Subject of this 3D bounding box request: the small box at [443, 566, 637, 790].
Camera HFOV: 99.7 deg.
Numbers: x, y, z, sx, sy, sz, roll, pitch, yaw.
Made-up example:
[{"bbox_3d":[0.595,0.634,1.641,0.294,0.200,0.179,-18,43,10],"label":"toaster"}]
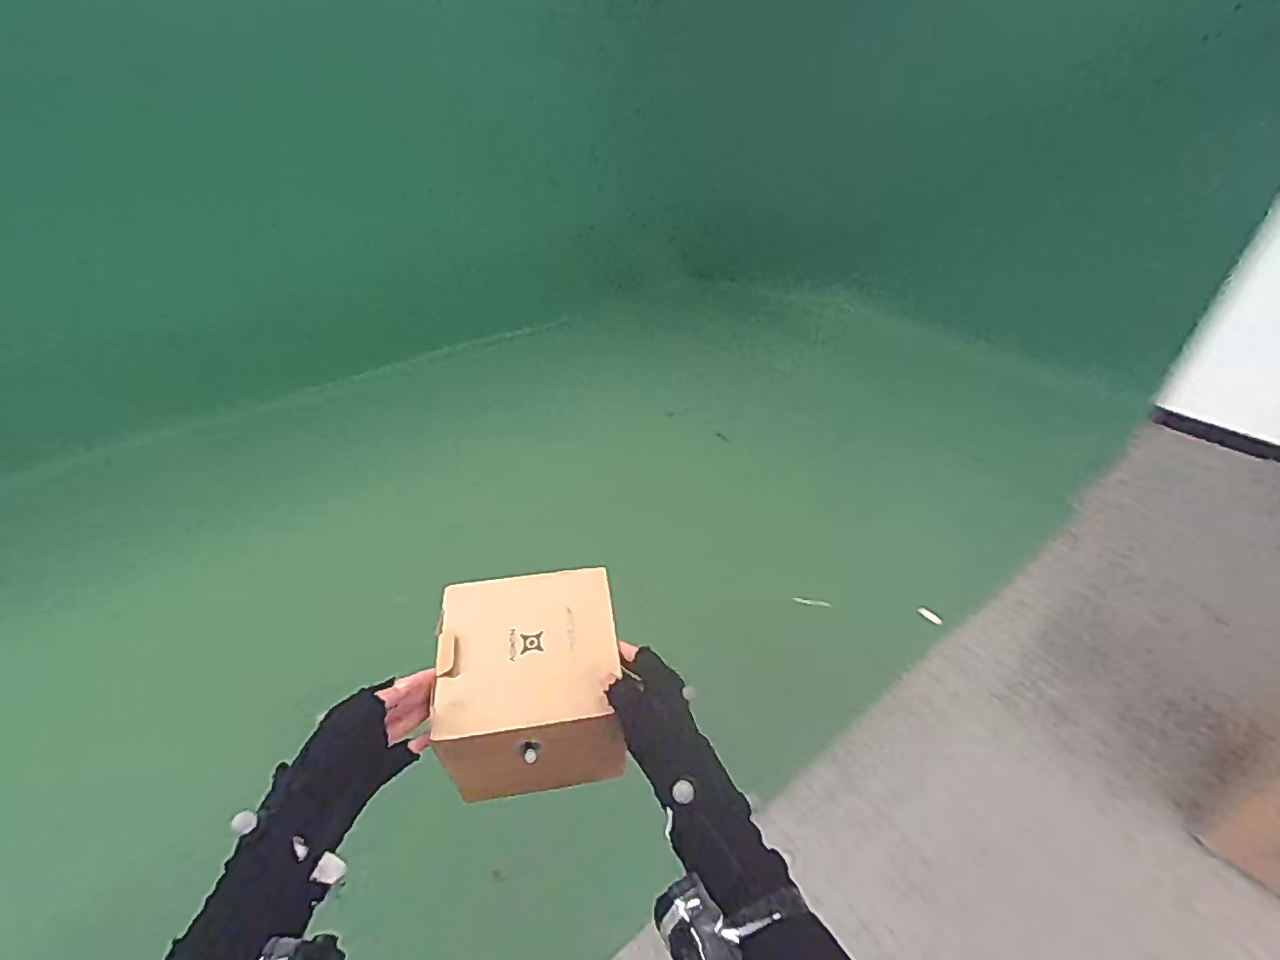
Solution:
[{"bbox_3d":[-0.102,0.218,0.593,0.179,0.176,0.168,-4,44,-9],"label":"small box"}]
